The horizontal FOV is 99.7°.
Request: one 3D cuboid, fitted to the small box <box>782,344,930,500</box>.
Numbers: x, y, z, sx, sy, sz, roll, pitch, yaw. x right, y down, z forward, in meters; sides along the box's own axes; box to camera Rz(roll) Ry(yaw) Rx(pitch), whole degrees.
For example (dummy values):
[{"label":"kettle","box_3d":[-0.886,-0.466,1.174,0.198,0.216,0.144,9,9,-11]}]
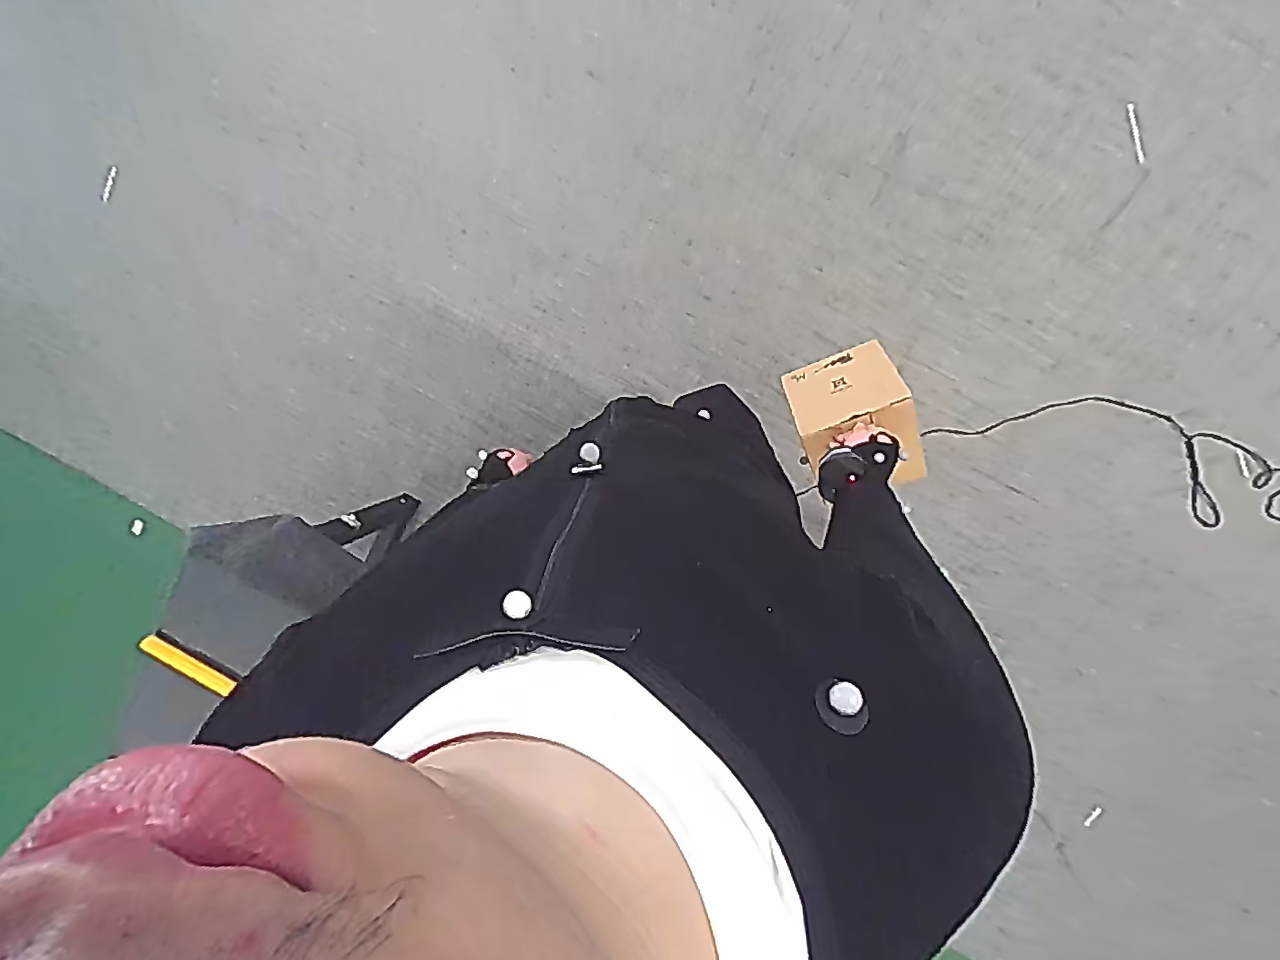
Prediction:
[{"label":"small box","box_3d":[0.360,-0.087,0.905,0.168,0.179,0.176,-23,128,18]}]
